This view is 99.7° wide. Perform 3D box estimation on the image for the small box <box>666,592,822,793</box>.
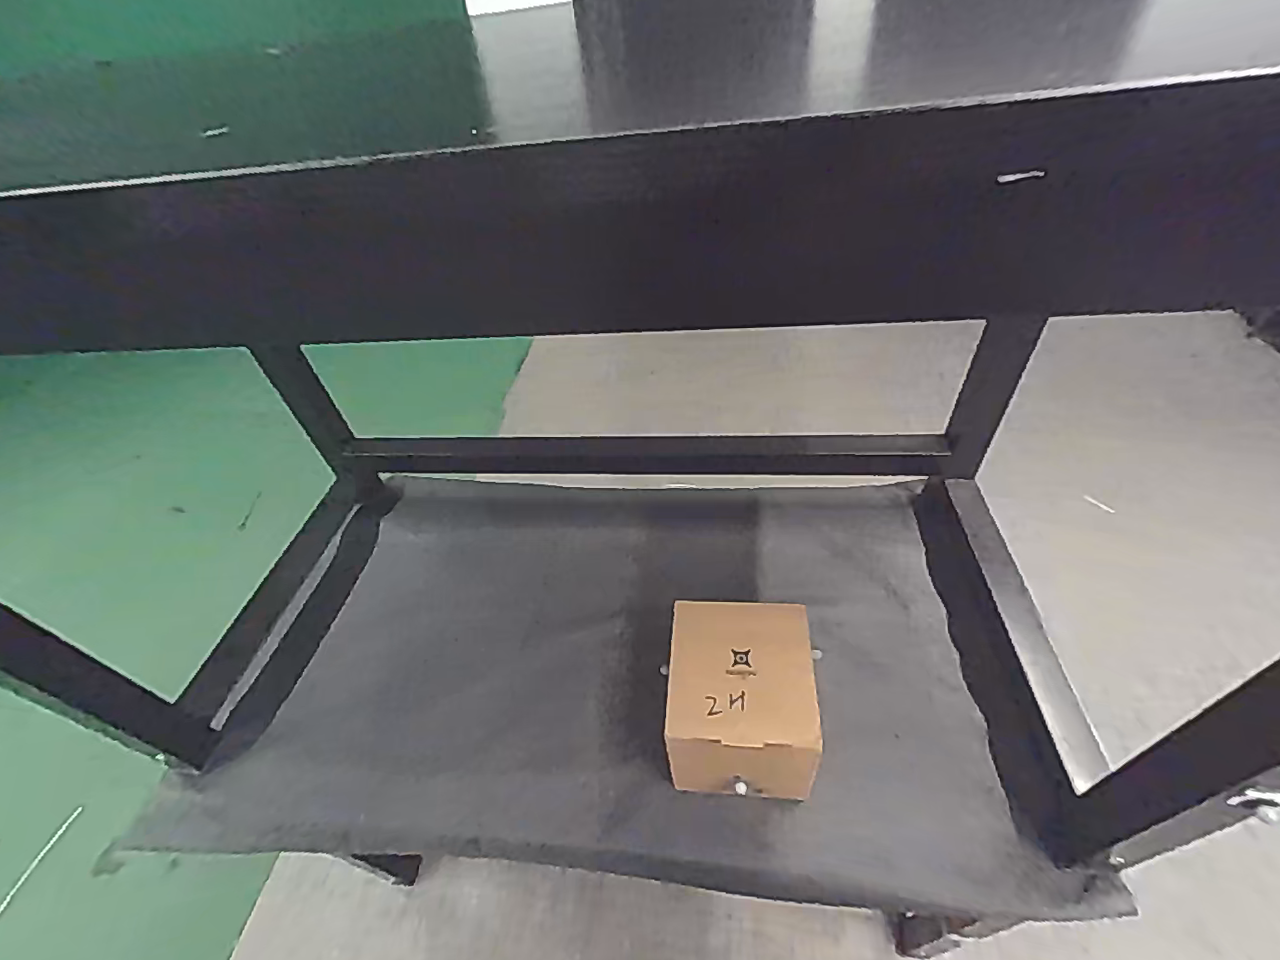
[{"bbox_3d":[0.127,0.265,0.684,0.168,0.176,0.179,0,43,10],"label":"small box"}]
